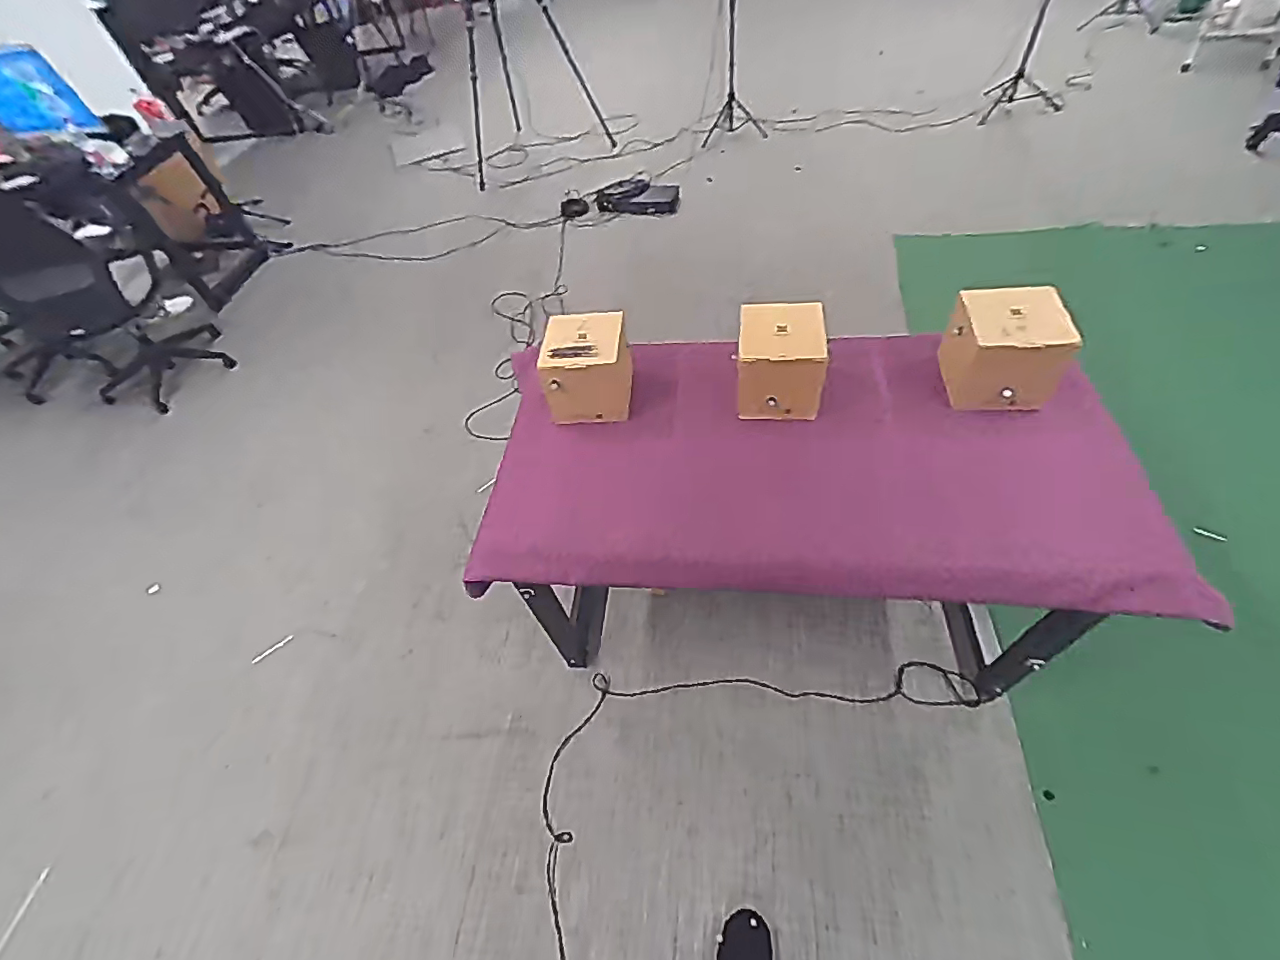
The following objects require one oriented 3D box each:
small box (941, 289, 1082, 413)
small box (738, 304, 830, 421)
[{"bbox_3d":[0.719,-0.254,1.072,0.168,0.176,0.179,1,54,12],"label":"small box"},{"bbox_3d":[0.294,-0.247,1.134,0.168,0.176,0.179,2,54,9],"label":"small box"}]
